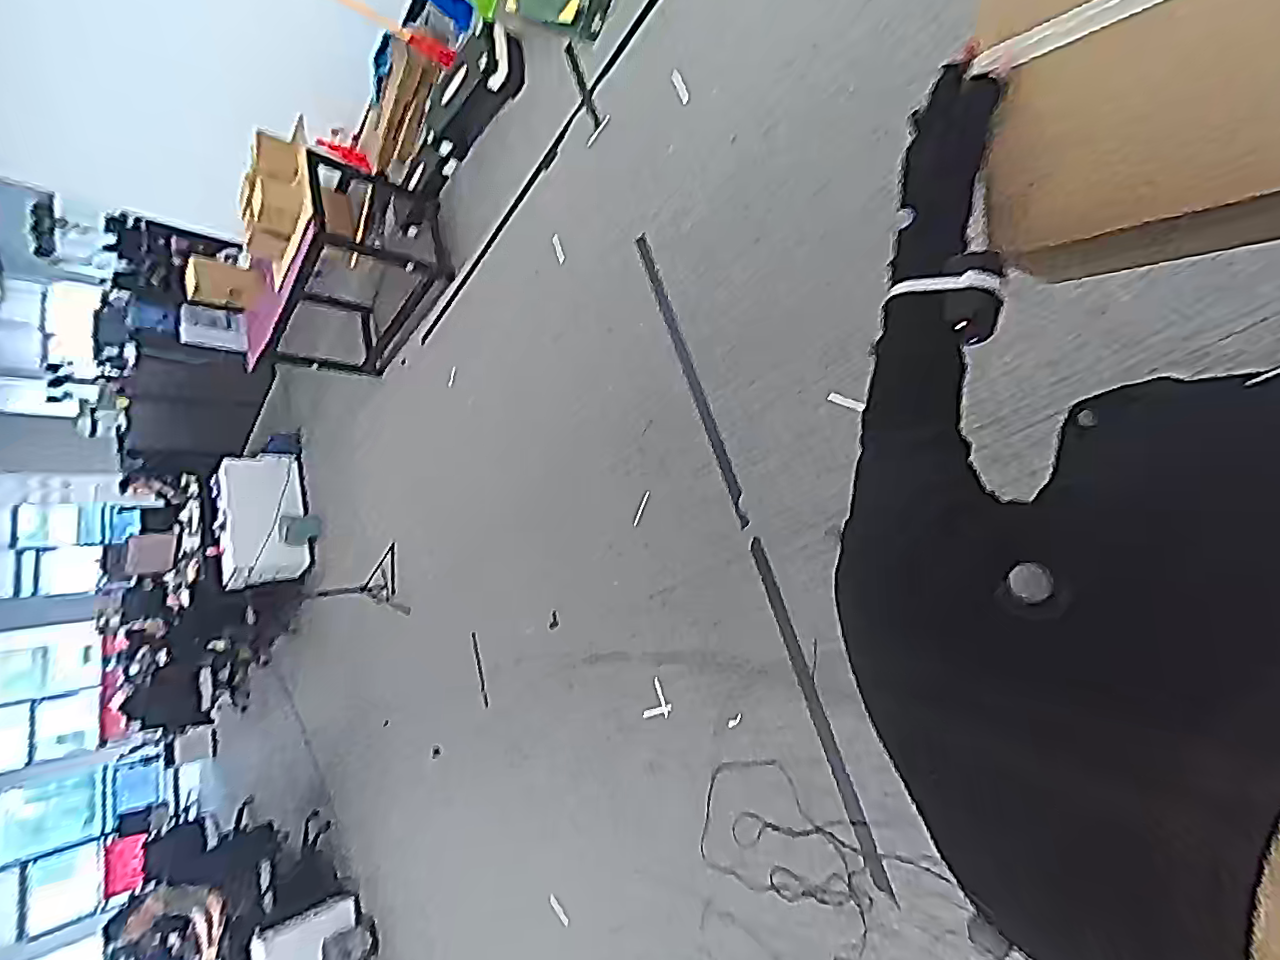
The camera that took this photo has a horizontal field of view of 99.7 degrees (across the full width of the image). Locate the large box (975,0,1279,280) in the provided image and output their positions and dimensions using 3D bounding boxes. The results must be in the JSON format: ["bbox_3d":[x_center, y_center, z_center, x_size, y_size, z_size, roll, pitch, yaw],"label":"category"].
[{"bbox_3d":[0.534,-0.382,0.433,0.408,0.320,0.320,-2,100,43],"label":"large box"}]
